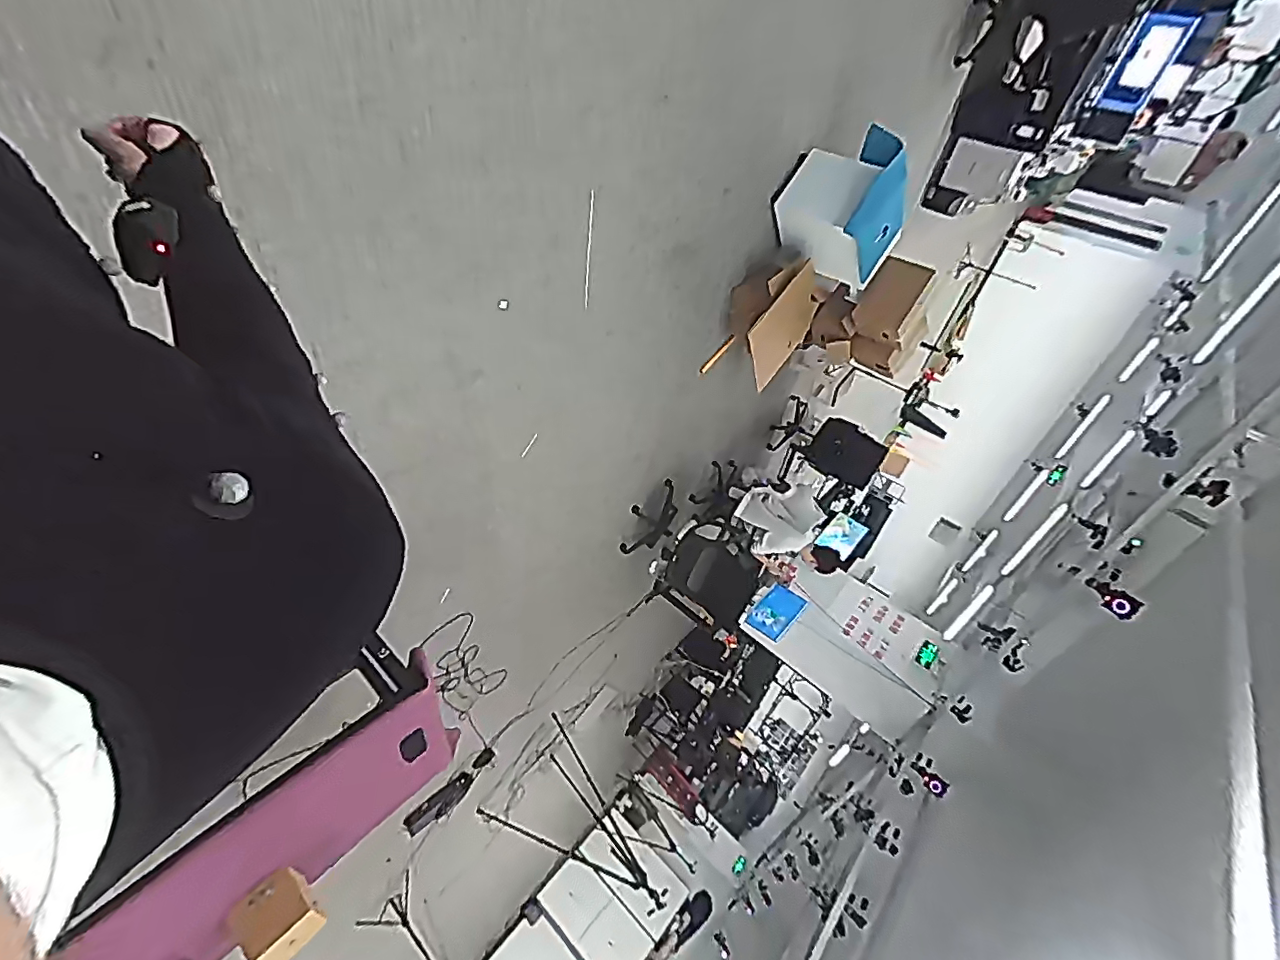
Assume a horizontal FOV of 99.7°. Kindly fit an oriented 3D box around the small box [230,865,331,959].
[{"bbox_3d":[-1.034,1.262,1.561,0.168,0.176,0.179,-35,147,-37],"label":"small box"}]
